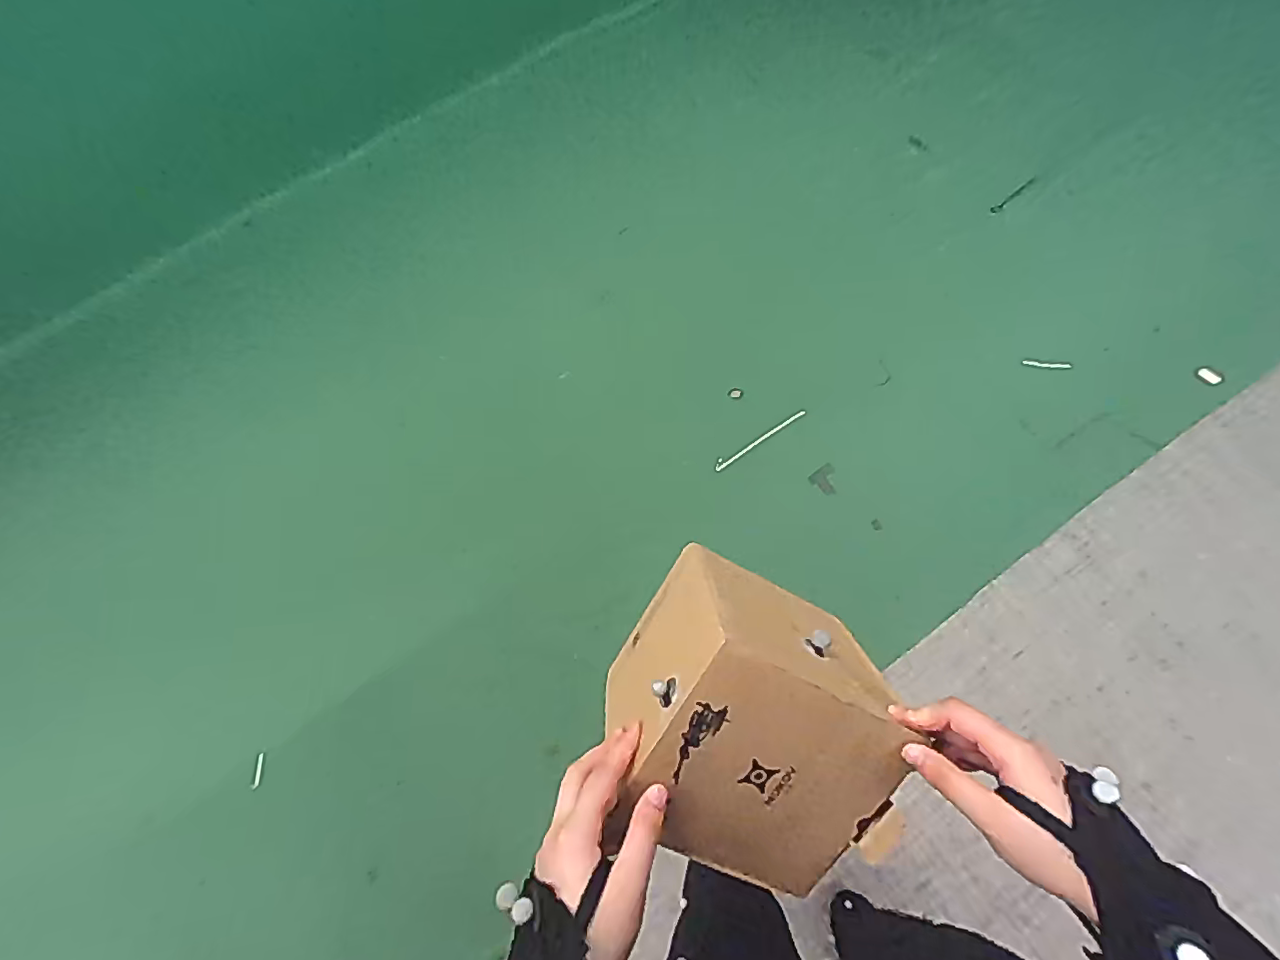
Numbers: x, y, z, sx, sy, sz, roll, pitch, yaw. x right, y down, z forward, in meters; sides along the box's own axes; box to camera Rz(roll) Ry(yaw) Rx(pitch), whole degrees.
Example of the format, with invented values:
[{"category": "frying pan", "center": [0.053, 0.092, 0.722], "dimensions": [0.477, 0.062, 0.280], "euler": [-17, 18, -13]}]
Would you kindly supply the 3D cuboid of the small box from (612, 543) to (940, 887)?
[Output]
[{"category": "small box", "center": [0.091, 0.177, 0.450], "dimensions": [0.179, 0.176, 0.168], "euler": [29, 102, -11]}]
